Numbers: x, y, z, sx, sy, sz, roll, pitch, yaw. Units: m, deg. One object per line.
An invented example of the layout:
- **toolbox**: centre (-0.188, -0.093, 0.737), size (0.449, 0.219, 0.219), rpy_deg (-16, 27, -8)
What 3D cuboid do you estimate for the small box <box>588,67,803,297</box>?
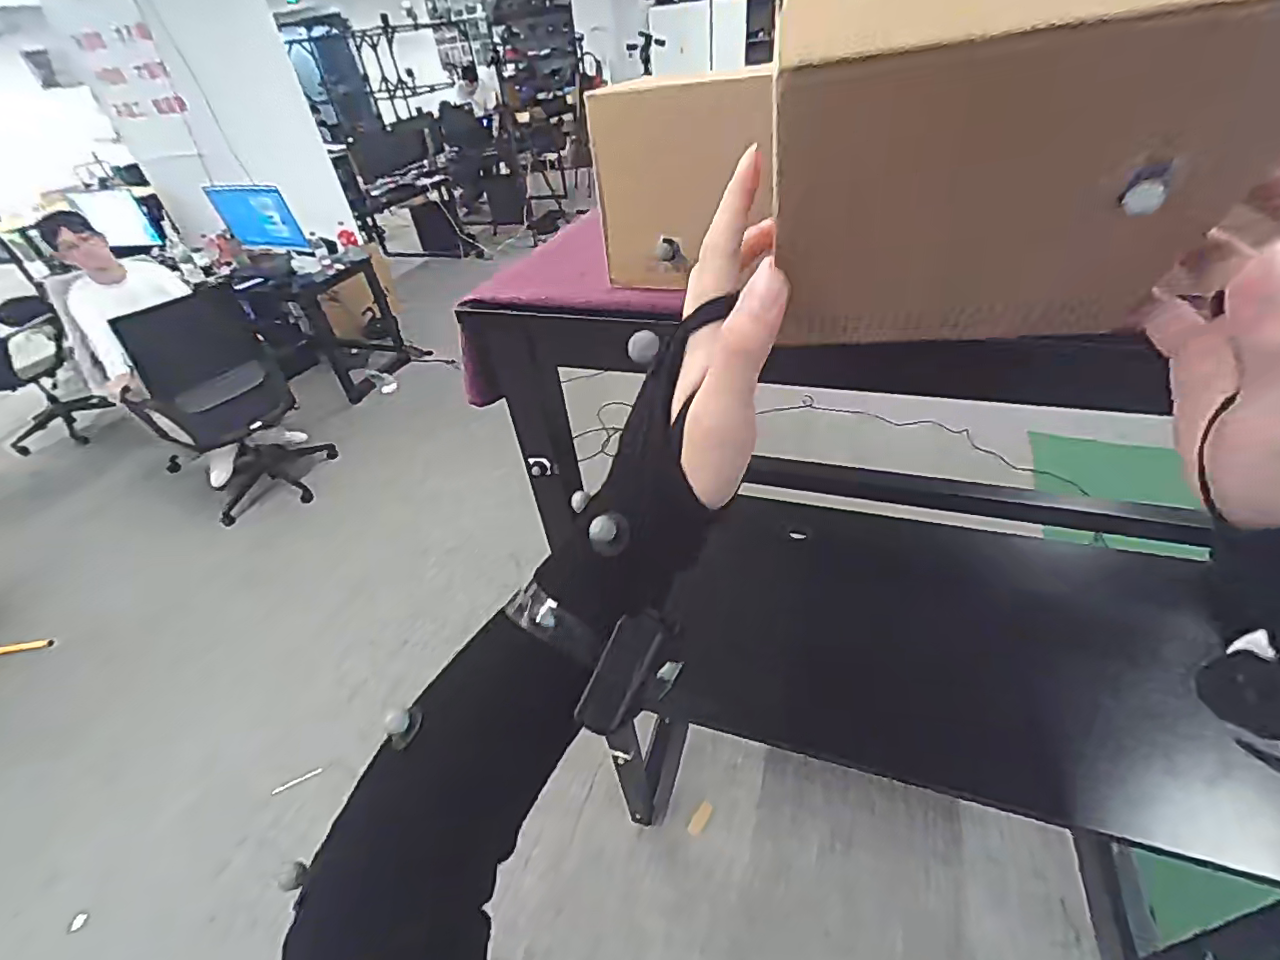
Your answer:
- **small box**: centre (0.064, -0.296, 0.540), size (0.168, 0.176, 0.179), rpy_deg (7, 41, 18)
